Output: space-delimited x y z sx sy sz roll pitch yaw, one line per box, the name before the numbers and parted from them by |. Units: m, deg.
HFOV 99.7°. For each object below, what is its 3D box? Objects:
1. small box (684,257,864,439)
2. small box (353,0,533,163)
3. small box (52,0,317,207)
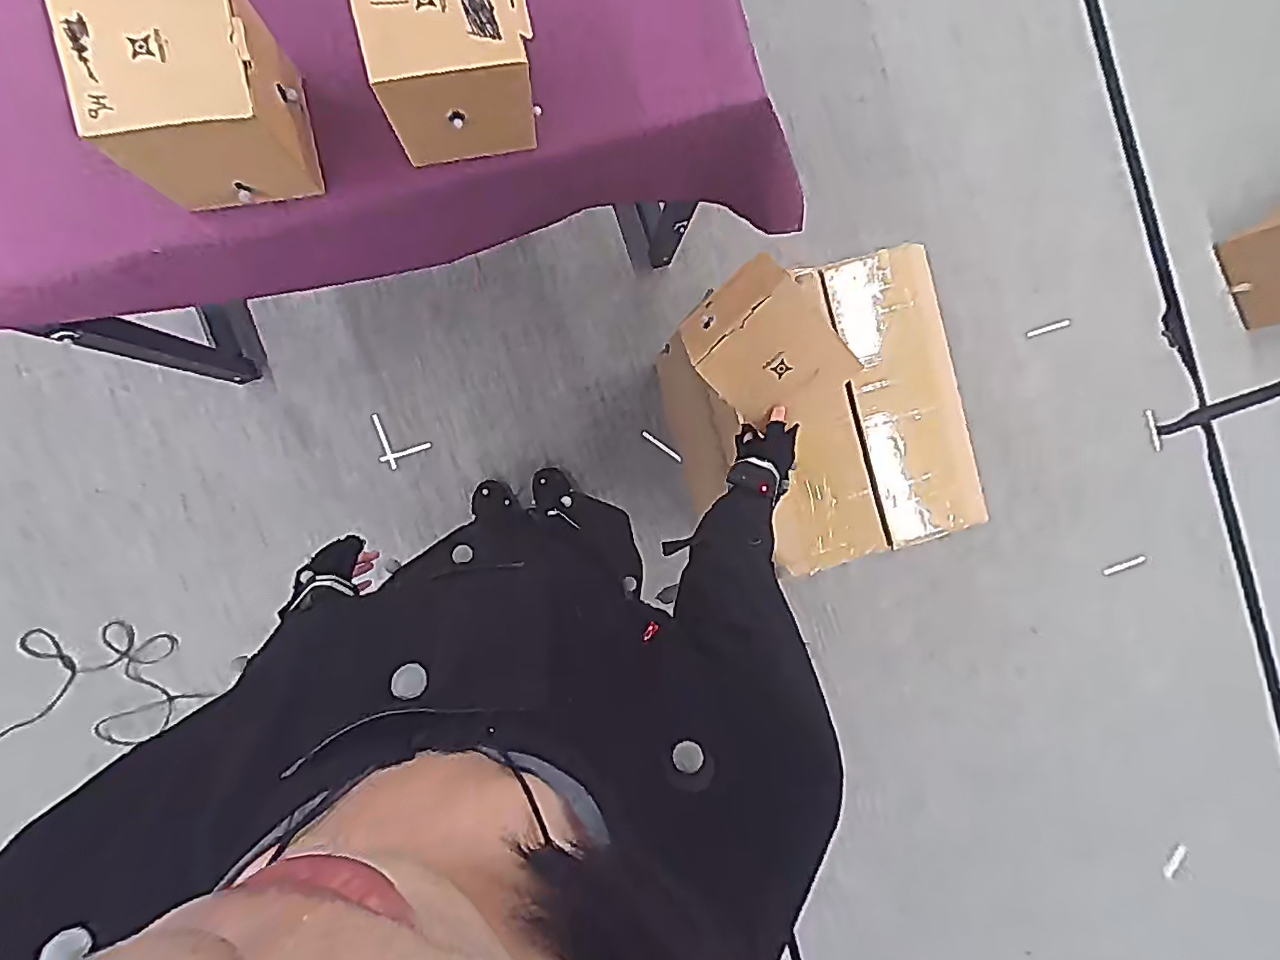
small box | 0.182 -0.199 0.790 0.179 0.176 0.168 37 115 -25
small box | -0.235 -0.531 0.675 0.179 0.176 0.168 -13 92 -6
small box | -0.514 -0.451 0.642 0.179 0.176 0.168 -12 92 -7
